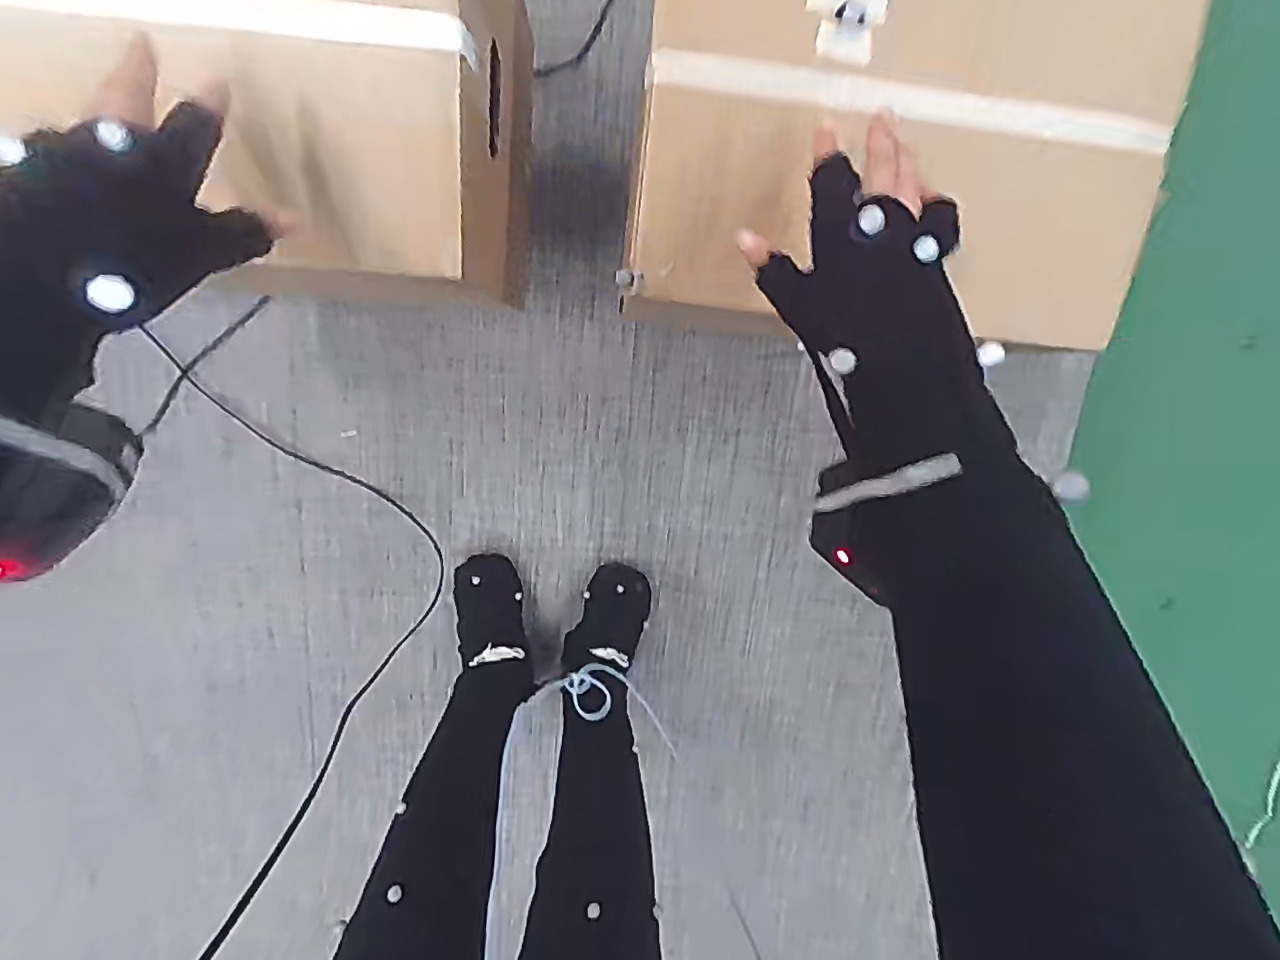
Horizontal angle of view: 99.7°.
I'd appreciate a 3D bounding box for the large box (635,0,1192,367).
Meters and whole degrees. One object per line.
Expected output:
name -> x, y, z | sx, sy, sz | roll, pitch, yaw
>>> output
large box -> 0.213, -0.301, 0.581 | 0.408, 0.320, 0.320 | 6, 102, -4
